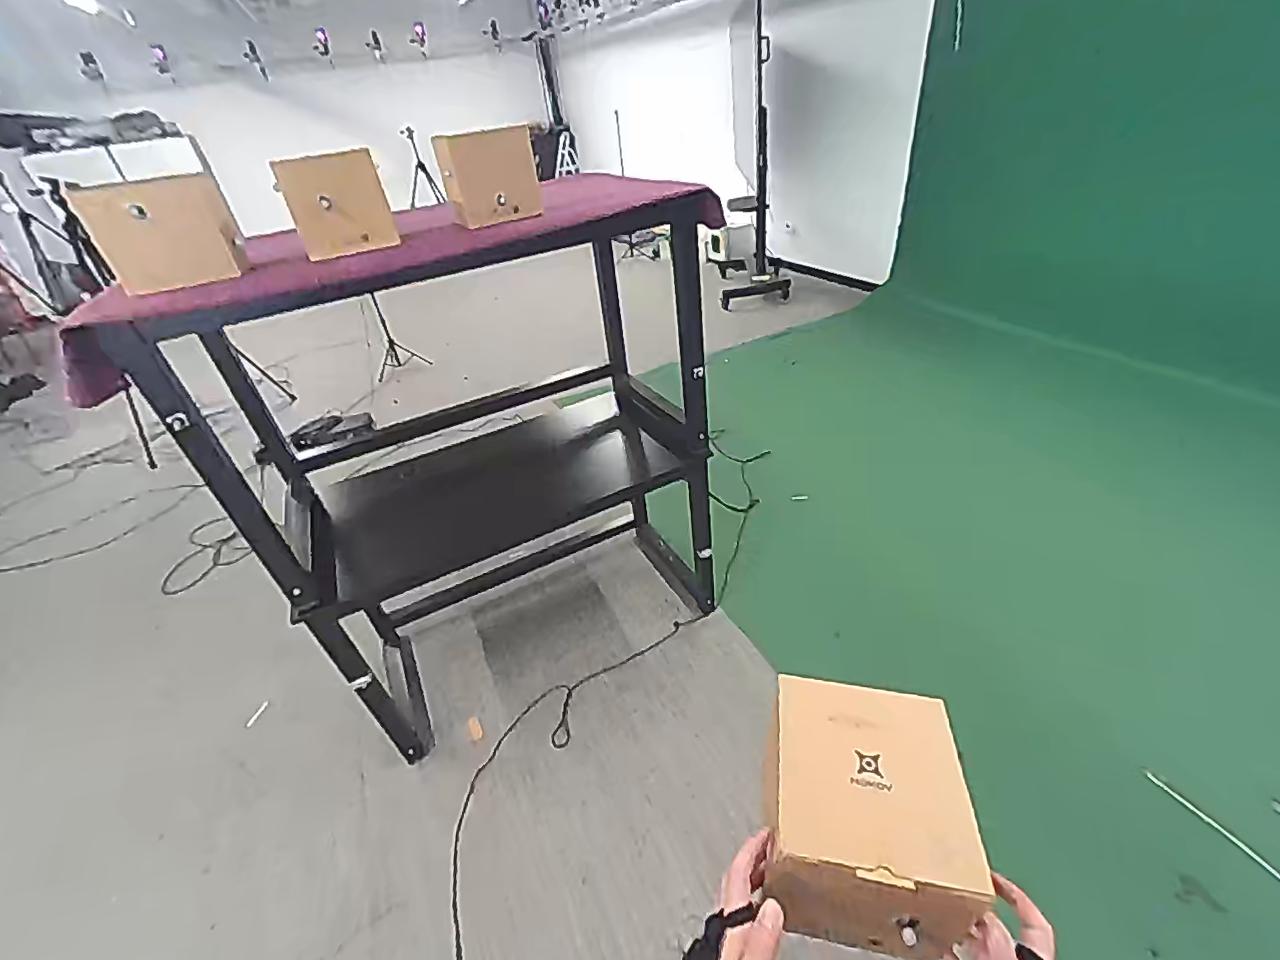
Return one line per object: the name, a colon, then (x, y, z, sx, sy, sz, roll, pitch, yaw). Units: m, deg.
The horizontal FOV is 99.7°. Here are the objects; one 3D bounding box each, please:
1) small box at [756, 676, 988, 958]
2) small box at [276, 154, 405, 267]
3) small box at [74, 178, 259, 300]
small box: (0.210, 0.333, 0.541, 0.168, 0.176, 0.179, 6, 35, 10)
small box: (-0.577, -0.527, 1.058, 0.168, 0.176, 0.179, -21, 35, -18)
small box: (-0.830, -0.435, 0.971, 0.179, 0.176, 0.168, -20, 36, -19)
